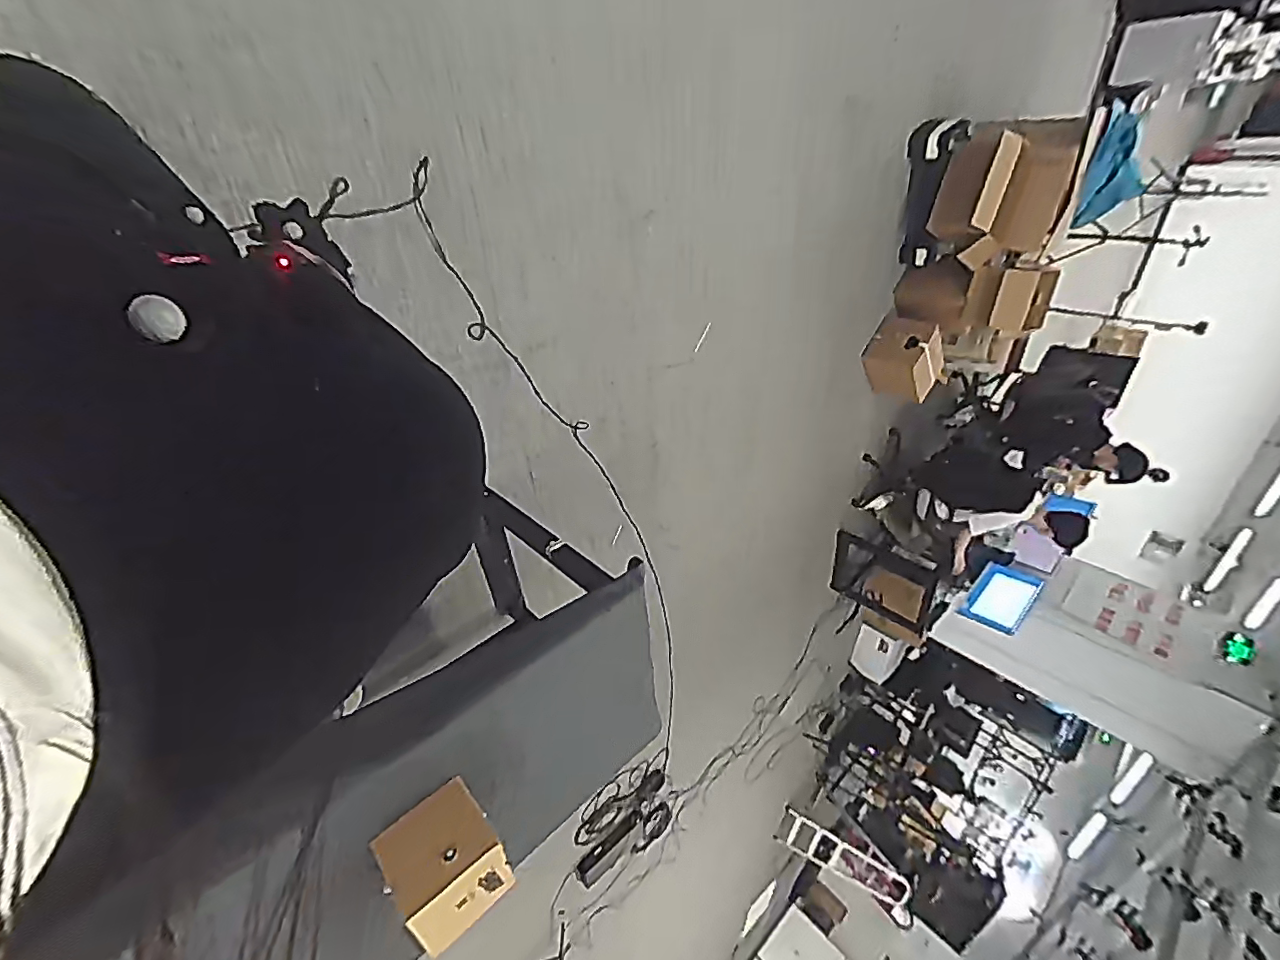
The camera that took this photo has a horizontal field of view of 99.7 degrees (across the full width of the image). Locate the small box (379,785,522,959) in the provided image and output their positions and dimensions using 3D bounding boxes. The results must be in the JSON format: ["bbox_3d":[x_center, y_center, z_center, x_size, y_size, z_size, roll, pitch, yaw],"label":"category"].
[{"bbox_3d":[-0.349,0.717,1.004,0.179,0.176,0.168,-29,130,-32],"label":"small box"}]
